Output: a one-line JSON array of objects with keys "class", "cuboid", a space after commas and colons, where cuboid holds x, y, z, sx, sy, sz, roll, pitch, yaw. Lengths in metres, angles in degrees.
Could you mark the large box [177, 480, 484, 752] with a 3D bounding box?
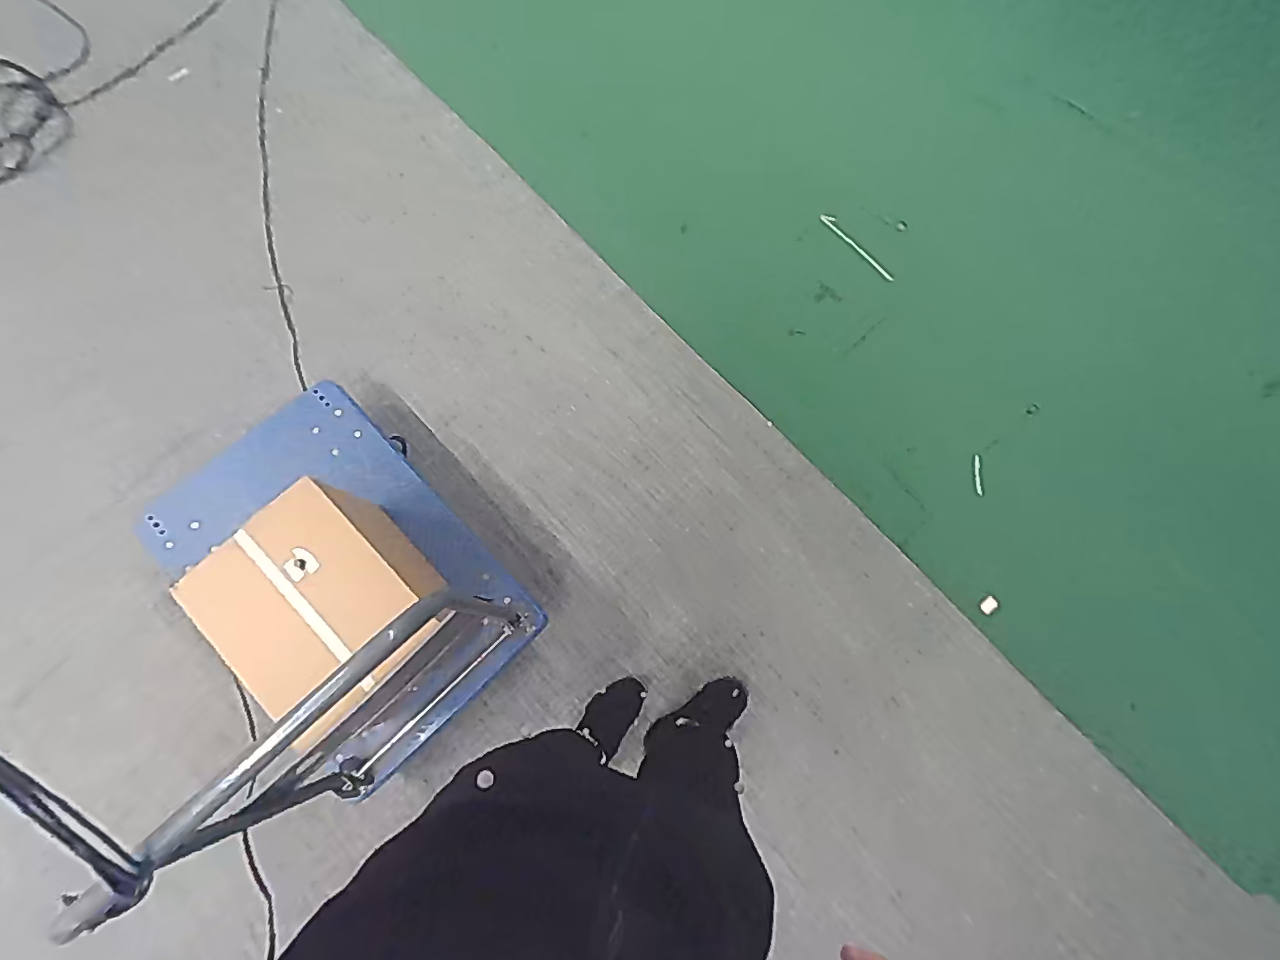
[{"class": "large box", "cuboid": [-0.604, 0.270, 1.129, 0.408, 0.320, 0.320, 44, 79, 9]}]
